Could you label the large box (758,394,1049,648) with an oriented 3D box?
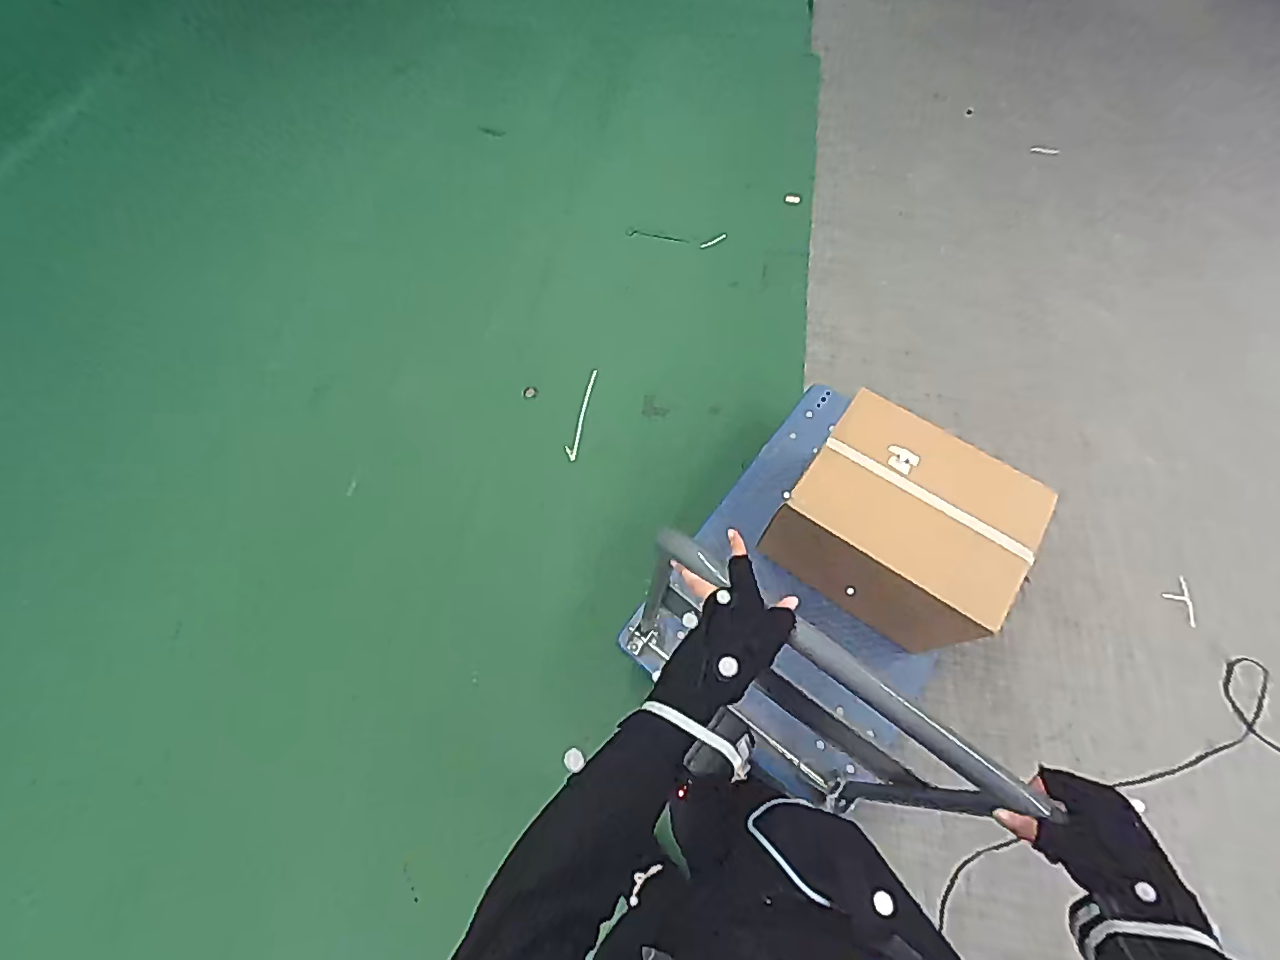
[{"bbox_3d":[0.519,0.098,1.142,0.408,0.320,0.320,34,70,15],"label":"large box"}]
